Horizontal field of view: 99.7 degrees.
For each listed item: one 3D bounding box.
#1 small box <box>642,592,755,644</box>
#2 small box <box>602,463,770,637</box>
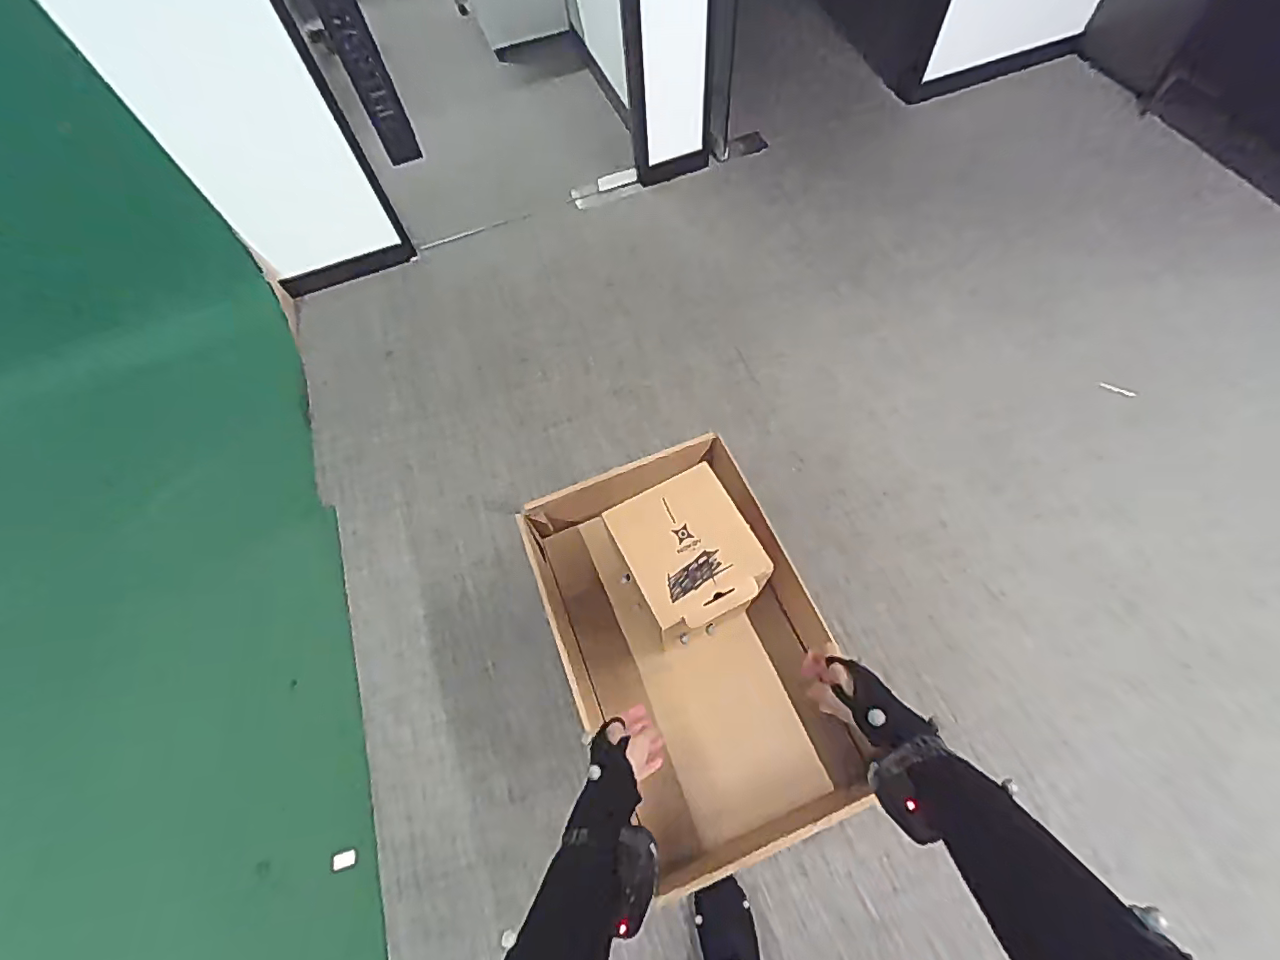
[{"bbox_3d":[0.075,0.170,0.931,0.168,0.176,0.179,-24,68,-8],"label":"small box"},{"bbox_3d":[0.063,0.111,0.778,0.168,0.176,0.179,-26,67,-8],"label":"small box"}]
